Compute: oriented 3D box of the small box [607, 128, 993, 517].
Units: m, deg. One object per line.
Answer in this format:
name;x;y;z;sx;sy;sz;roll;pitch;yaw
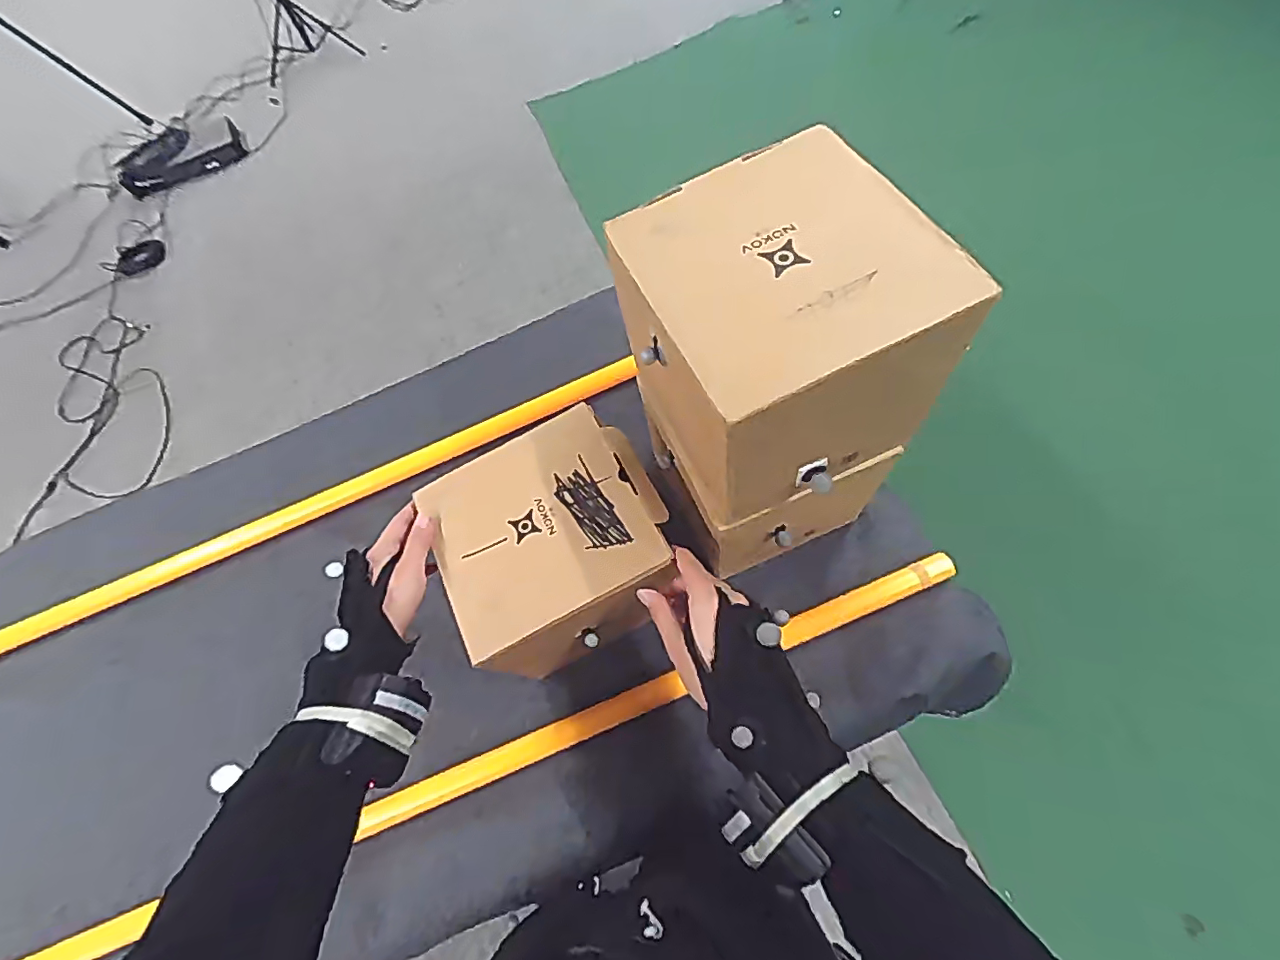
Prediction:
small box;0.094;-0.101;0.393;0.168;0.176;0.179;-26;64;-3
